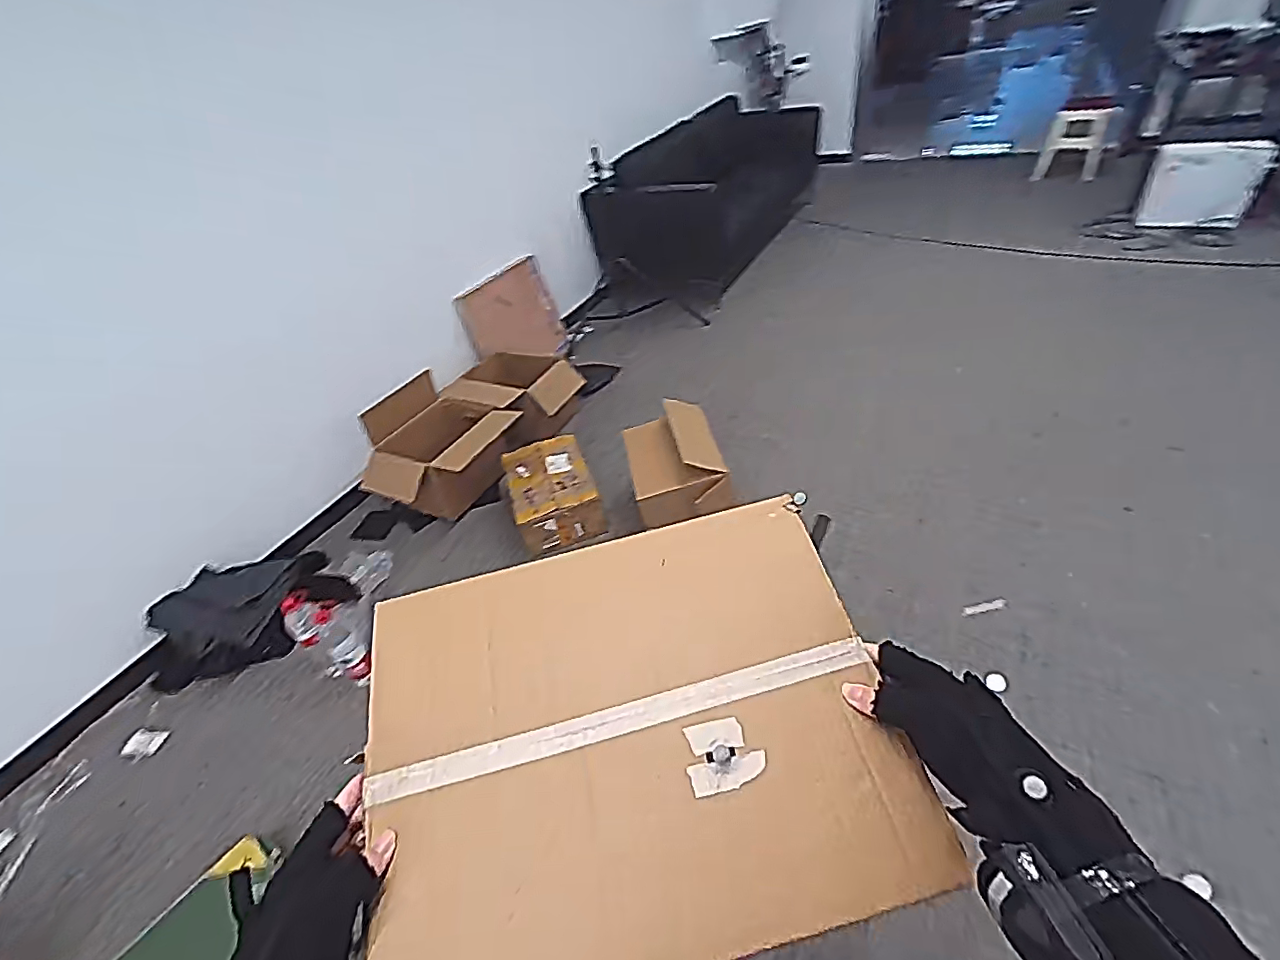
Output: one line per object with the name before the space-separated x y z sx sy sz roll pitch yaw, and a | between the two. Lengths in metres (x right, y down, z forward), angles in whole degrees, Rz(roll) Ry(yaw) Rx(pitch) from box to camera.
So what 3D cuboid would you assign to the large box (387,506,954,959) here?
large box | 0.006 0.279 0.565 0.408 0.320 0.320 -14 56 -3
